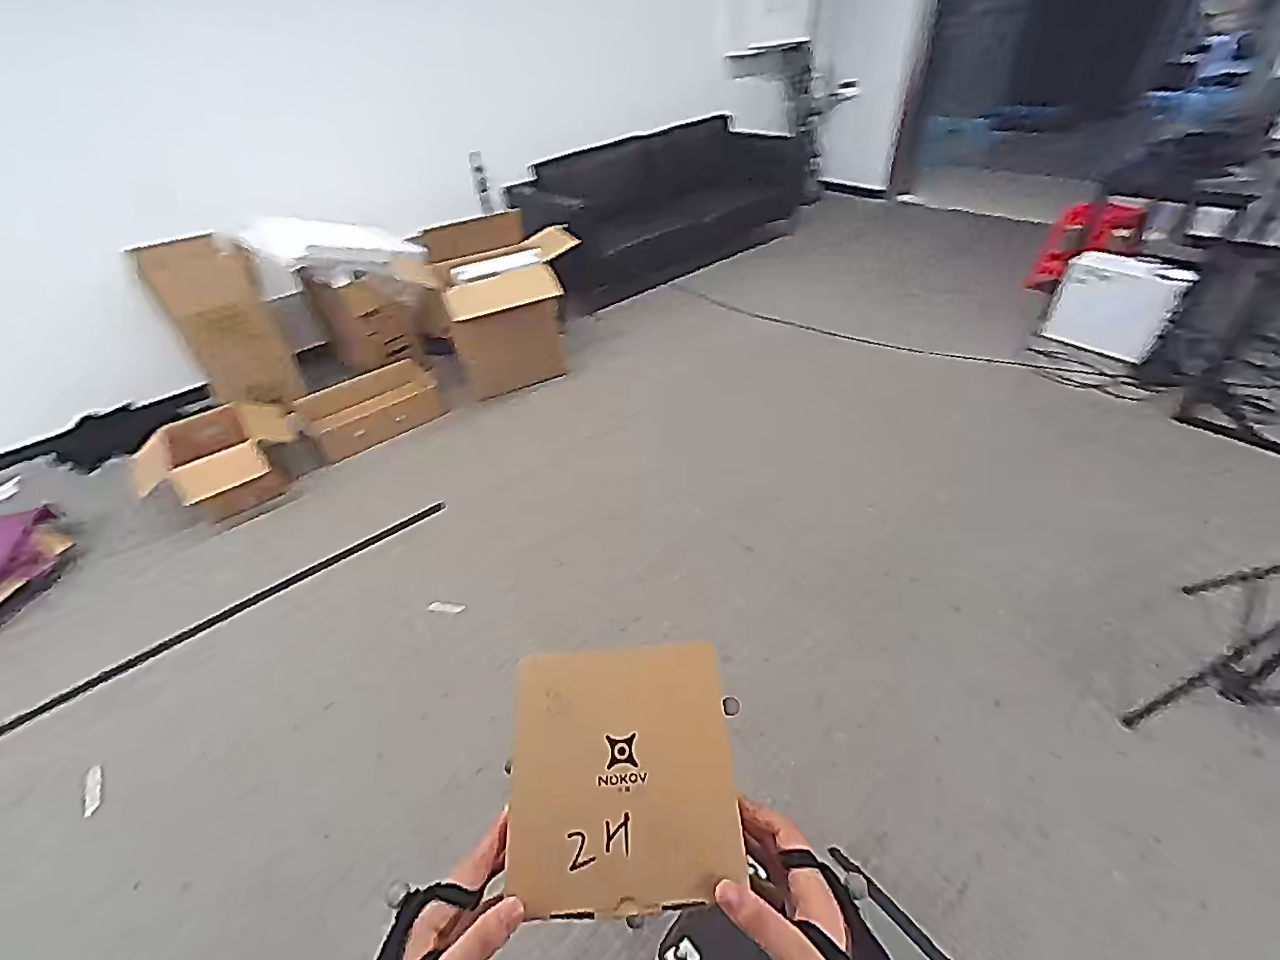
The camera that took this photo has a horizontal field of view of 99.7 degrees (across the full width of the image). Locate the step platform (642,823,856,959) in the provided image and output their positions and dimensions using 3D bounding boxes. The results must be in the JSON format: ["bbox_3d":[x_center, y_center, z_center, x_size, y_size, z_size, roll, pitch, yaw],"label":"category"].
[{"bbox_3d":[0.311,0.887,0.778,0.286,0.204,0.684,-31,47,-27],"label":"step platform"}]
